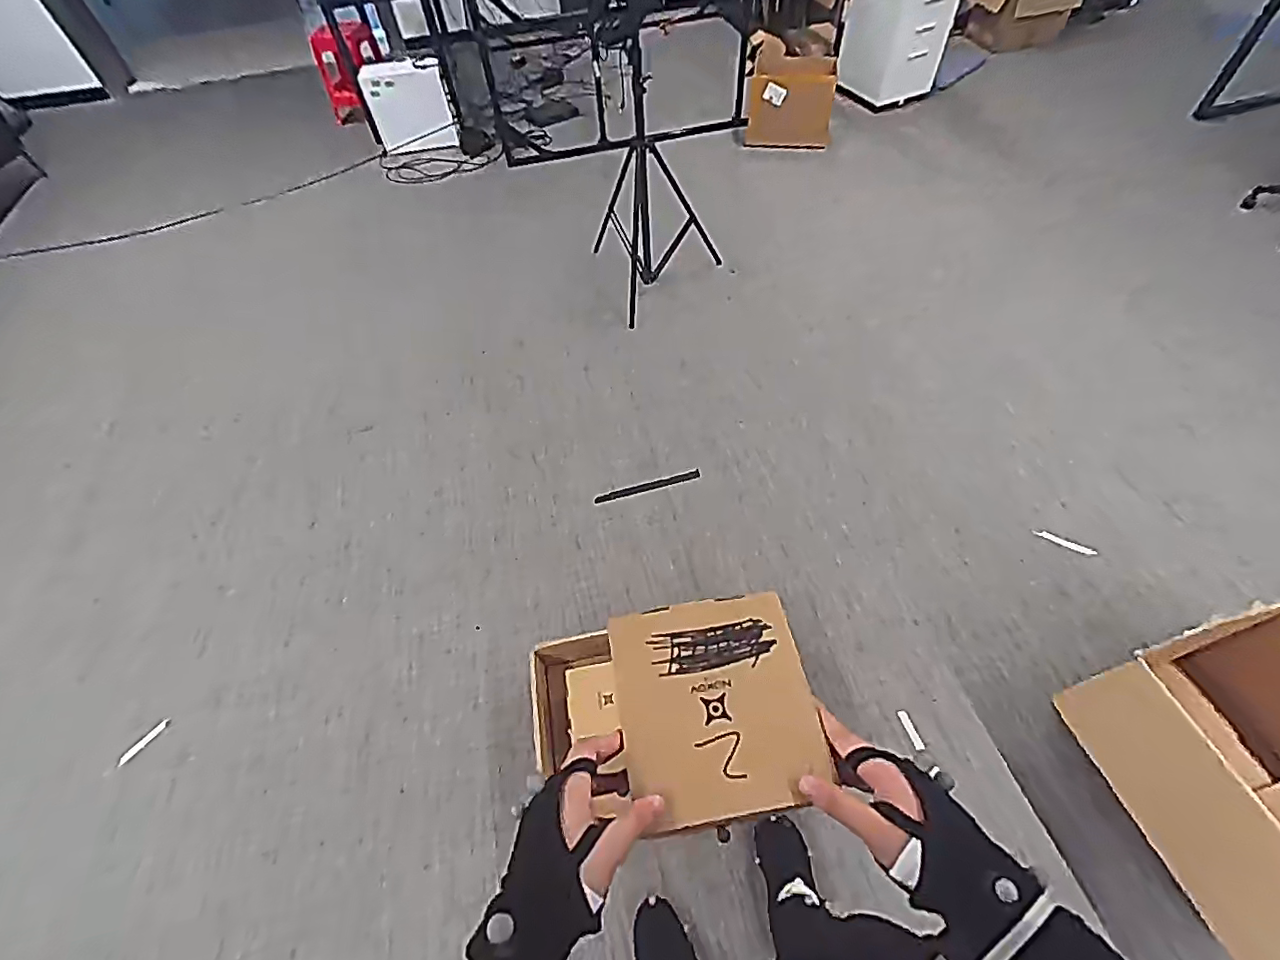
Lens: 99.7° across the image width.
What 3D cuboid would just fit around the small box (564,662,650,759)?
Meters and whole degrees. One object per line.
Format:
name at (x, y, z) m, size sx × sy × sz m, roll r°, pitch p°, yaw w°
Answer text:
small box at (-0.075, 0.551, 1.283) m, size 0.179 × 0.176 × 0.168 m, roll -9°, pitch 56°, yaw -5°
